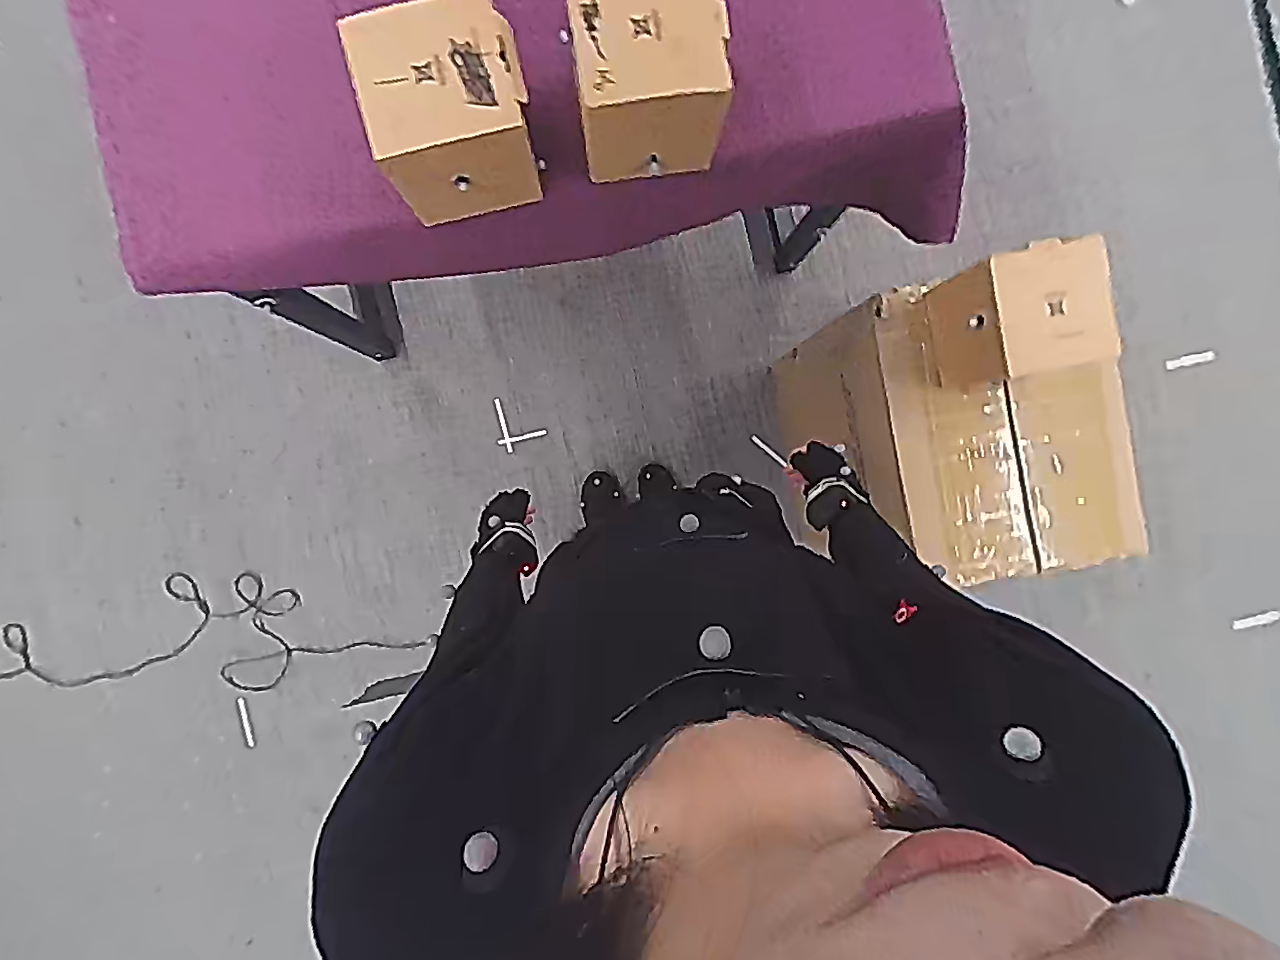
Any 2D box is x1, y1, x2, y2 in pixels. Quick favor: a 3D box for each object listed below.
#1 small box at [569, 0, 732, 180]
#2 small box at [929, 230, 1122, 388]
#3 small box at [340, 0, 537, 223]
[{"bbox_3d":[0.005,-0.521,0.702,0.179,0.176,0.168,-9,90,-3],"label":"small box"},{"bbox_3d":[0.576,-0.251,0.832,0.168,0.176,0.179,-12,93,0],"label":"small box"},{"bbox_3d":[-0.238,-0.460,0.691,0.179,0.176,0.168,-14,90,-1],"label":"small box"}]
